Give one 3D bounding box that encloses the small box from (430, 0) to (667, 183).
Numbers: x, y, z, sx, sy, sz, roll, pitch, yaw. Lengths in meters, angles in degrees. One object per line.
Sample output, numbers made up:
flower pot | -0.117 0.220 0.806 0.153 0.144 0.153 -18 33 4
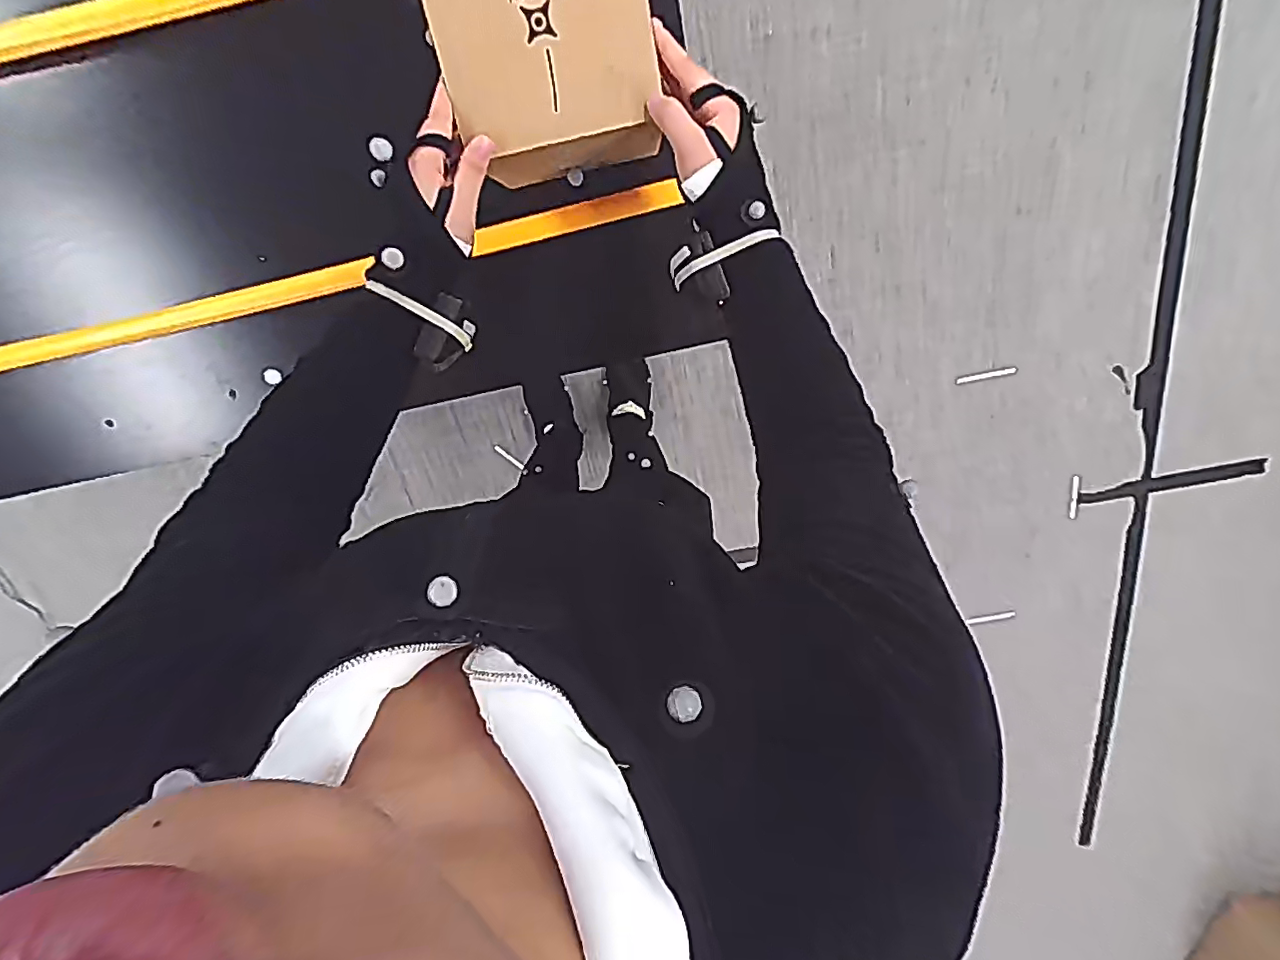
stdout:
small box | -0.075 -0.383 0.476 0.168 0.176 0.179 -11 112 4
